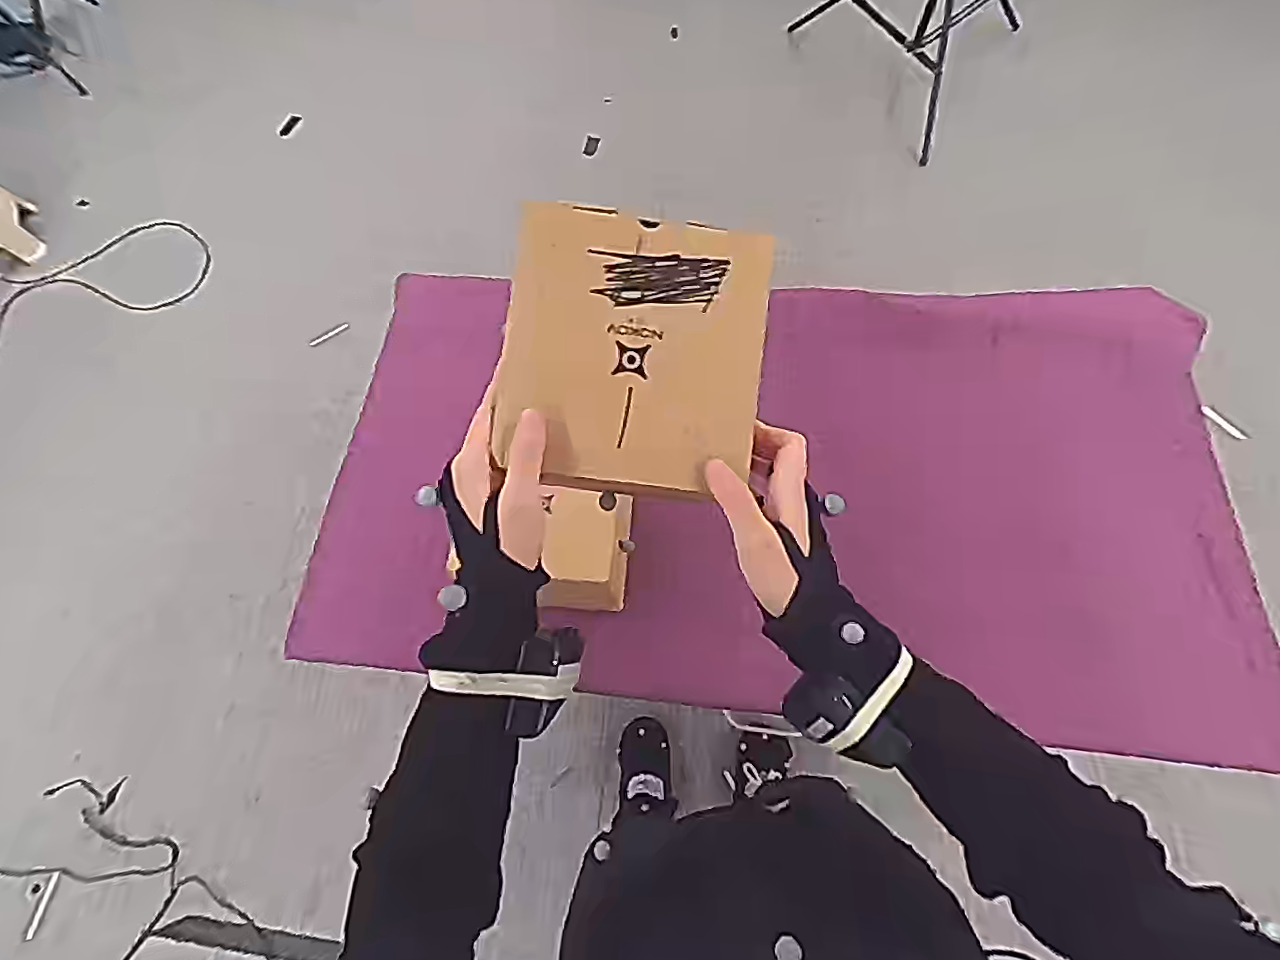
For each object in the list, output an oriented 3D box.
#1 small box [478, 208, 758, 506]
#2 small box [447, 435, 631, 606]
[{"bbox_3d":[-0.017,-0.076,0.427,0.168,0.176,0.179,7,86,-3],"label":"small box"},{"bbox_3d":[-0.107,0.057,0.665,0.179,0.176,0.168,3,67,5],"label":"small box"}]
